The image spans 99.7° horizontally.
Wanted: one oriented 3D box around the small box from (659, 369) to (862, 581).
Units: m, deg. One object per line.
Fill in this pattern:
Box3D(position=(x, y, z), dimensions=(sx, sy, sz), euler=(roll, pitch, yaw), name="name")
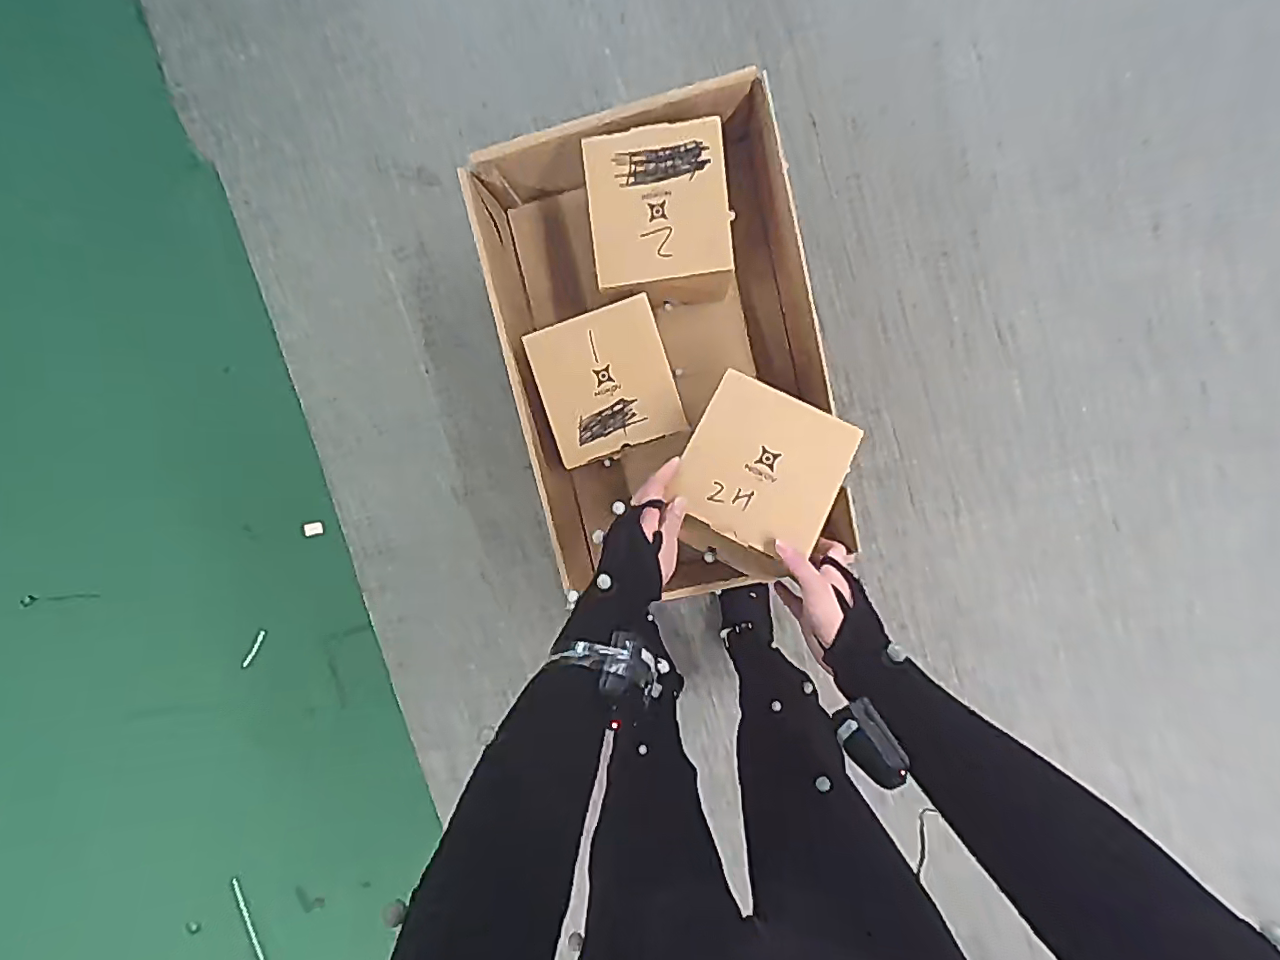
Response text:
Box3D(position=(0.128, 0.005, 0.647), dimensions=(0.168, 0.176, 0.179), euler=(27, 77, 7), name="small box")
